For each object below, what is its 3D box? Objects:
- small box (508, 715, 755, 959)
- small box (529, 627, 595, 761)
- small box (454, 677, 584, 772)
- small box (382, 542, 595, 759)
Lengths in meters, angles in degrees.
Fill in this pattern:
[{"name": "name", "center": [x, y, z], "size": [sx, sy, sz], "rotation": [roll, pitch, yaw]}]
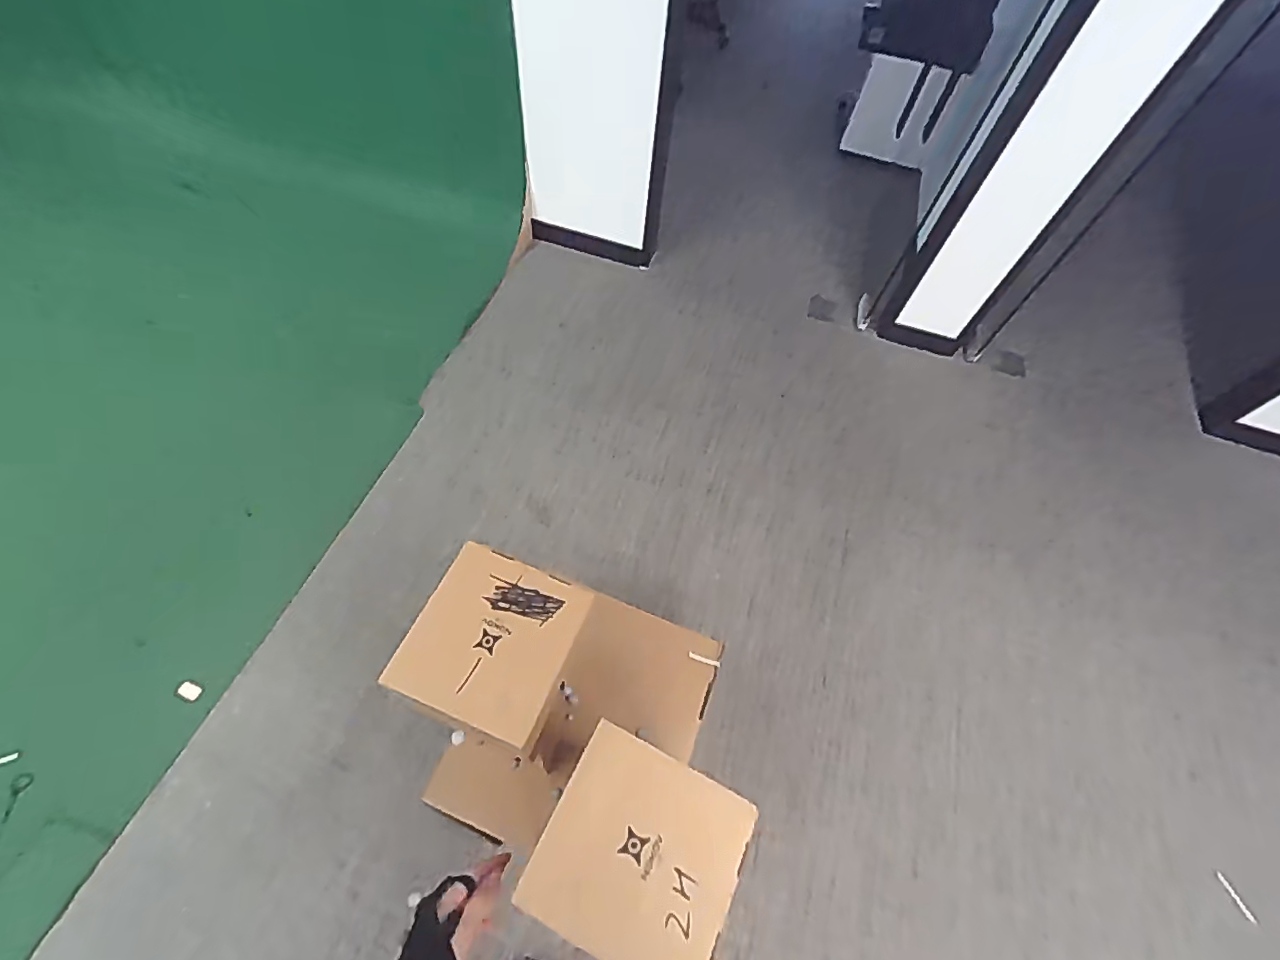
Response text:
[{"name": "small box", "center": [-0.010, 0.374, 0.555], "size": [0.179, 0.176, 0.168], "rotation": [26, 59, 10]}, {"name": "small box", "center": [-0.179, 0.287, 0.794], "size": [0.168, 0.176, 0.179], "rotation": [22, 59, 7]}, {"name": "small box", "center": [-0.200, 0.377, 0.930], "size": [0.168, 0.176, 0.179], "rotation": [21, 56, 7]}, {"name": "small box", "center": [-0.167, 0.209, 0.651], "size": [0.168, 0.176, 0.179], "rotation": [22, 58, 8]}]
